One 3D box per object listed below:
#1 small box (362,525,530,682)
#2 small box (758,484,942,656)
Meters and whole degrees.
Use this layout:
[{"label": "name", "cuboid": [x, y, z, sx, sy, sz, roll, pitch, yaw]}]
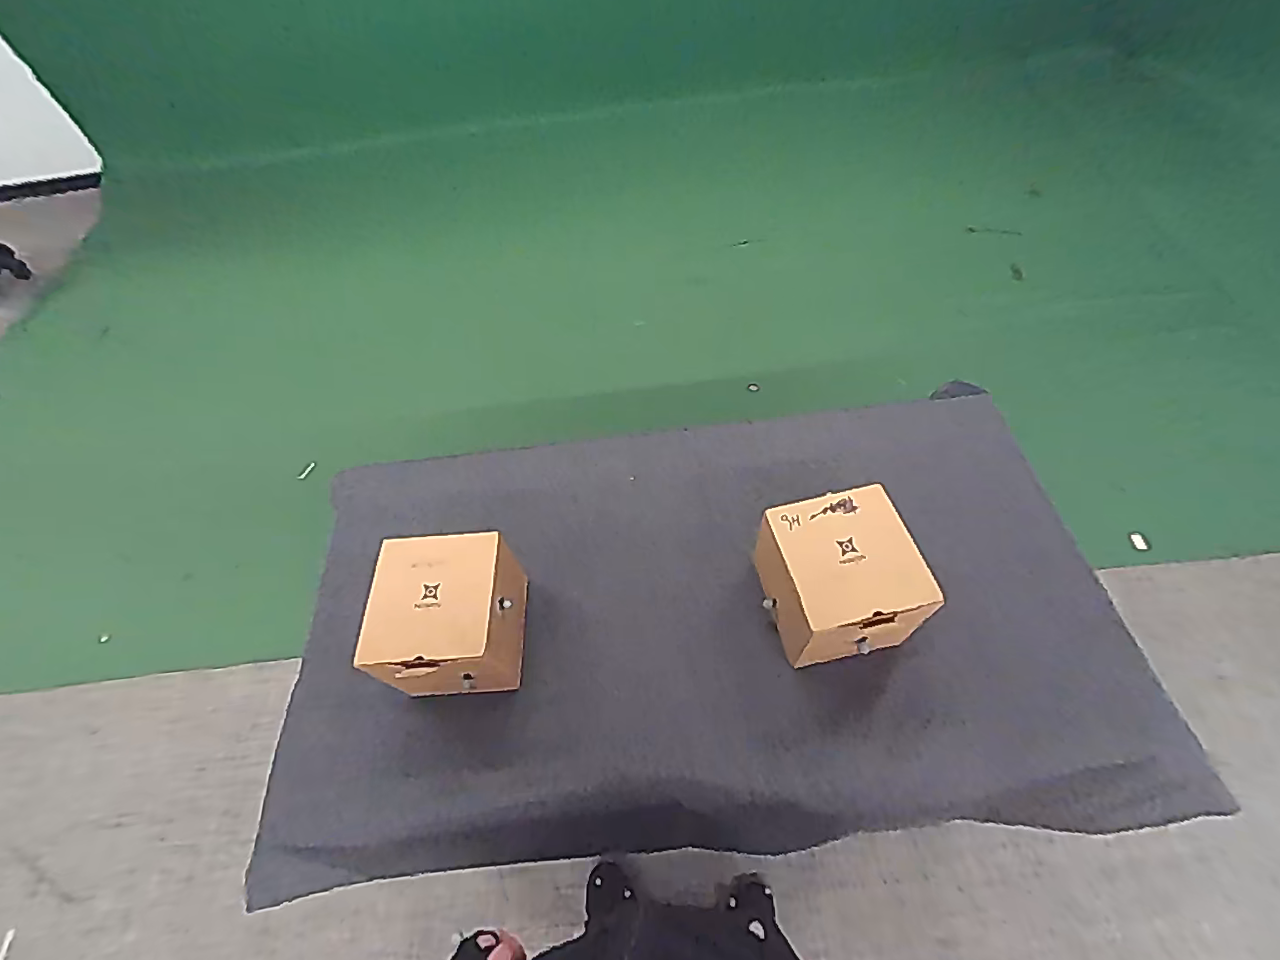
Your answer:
[{"label": "small box", "cuboid": [-0.260, 0.184, 0.774, 0.168, 0.176, 0.179, -3, 56, 1]}, {"label": "small box", "cuboid": [0.274, 0.135, 0.754, 0.168, 0.176, 0.179, -12, 57, -3]}]
